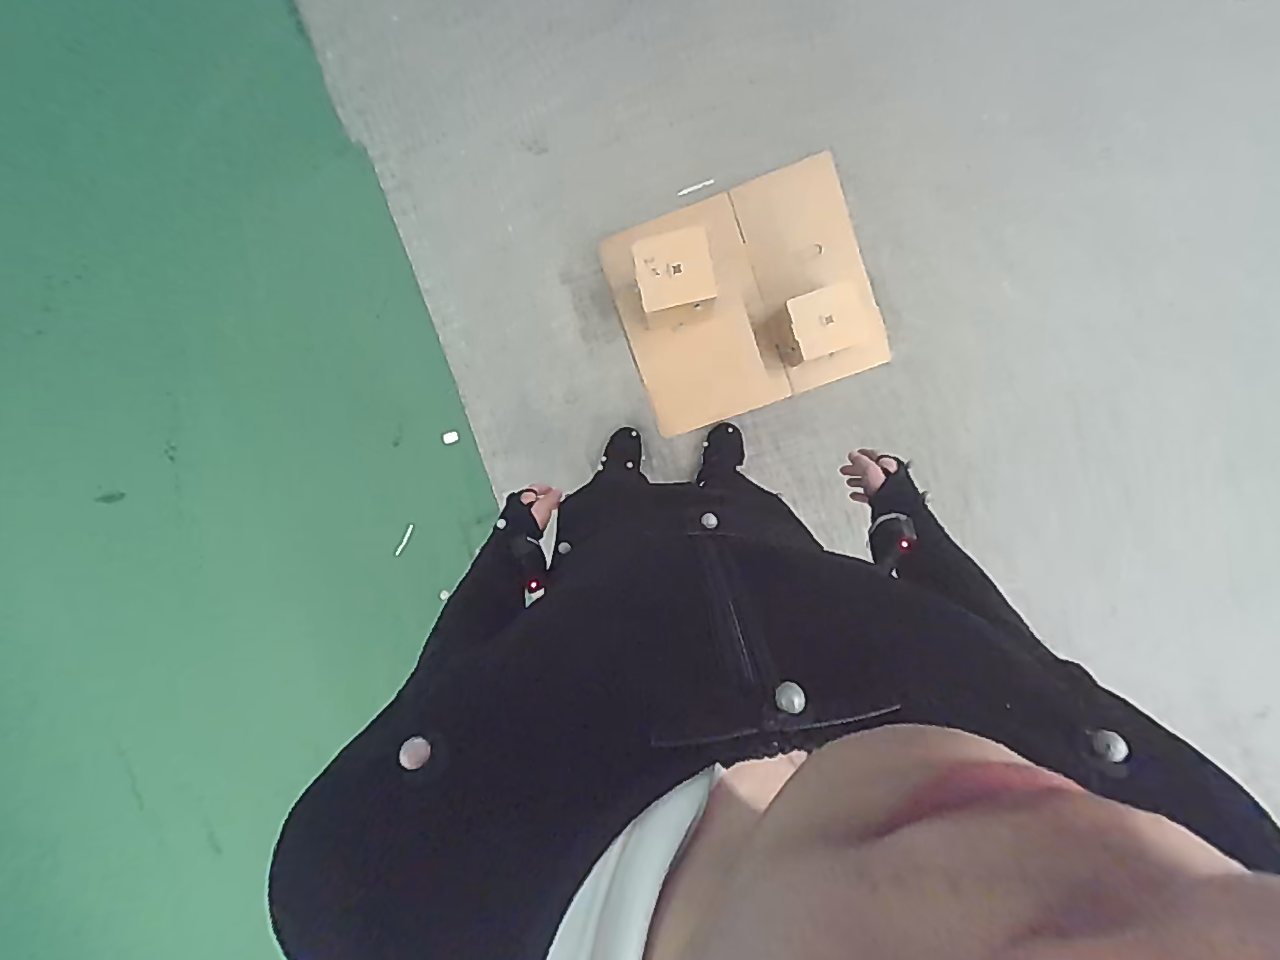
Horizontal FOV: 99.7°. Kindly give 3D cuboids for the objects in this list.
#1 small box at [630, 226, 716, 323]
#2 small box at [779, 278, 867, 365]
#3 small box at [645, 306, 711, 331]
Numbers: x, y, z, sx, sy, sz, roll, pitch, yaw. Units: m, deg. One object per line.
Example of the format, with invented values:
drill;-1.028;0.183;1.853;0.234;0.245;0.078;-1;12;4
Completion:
small box;0.082;-0.494;1.319;0.179;0.176;0.168;-11;95;6
small box;0.484;-0.420;1.462;0.179;0.176;0.168;-18;95;7
small box;0.092;-0.518;1.484;0.179;0.176;0.168;-10;95;6
